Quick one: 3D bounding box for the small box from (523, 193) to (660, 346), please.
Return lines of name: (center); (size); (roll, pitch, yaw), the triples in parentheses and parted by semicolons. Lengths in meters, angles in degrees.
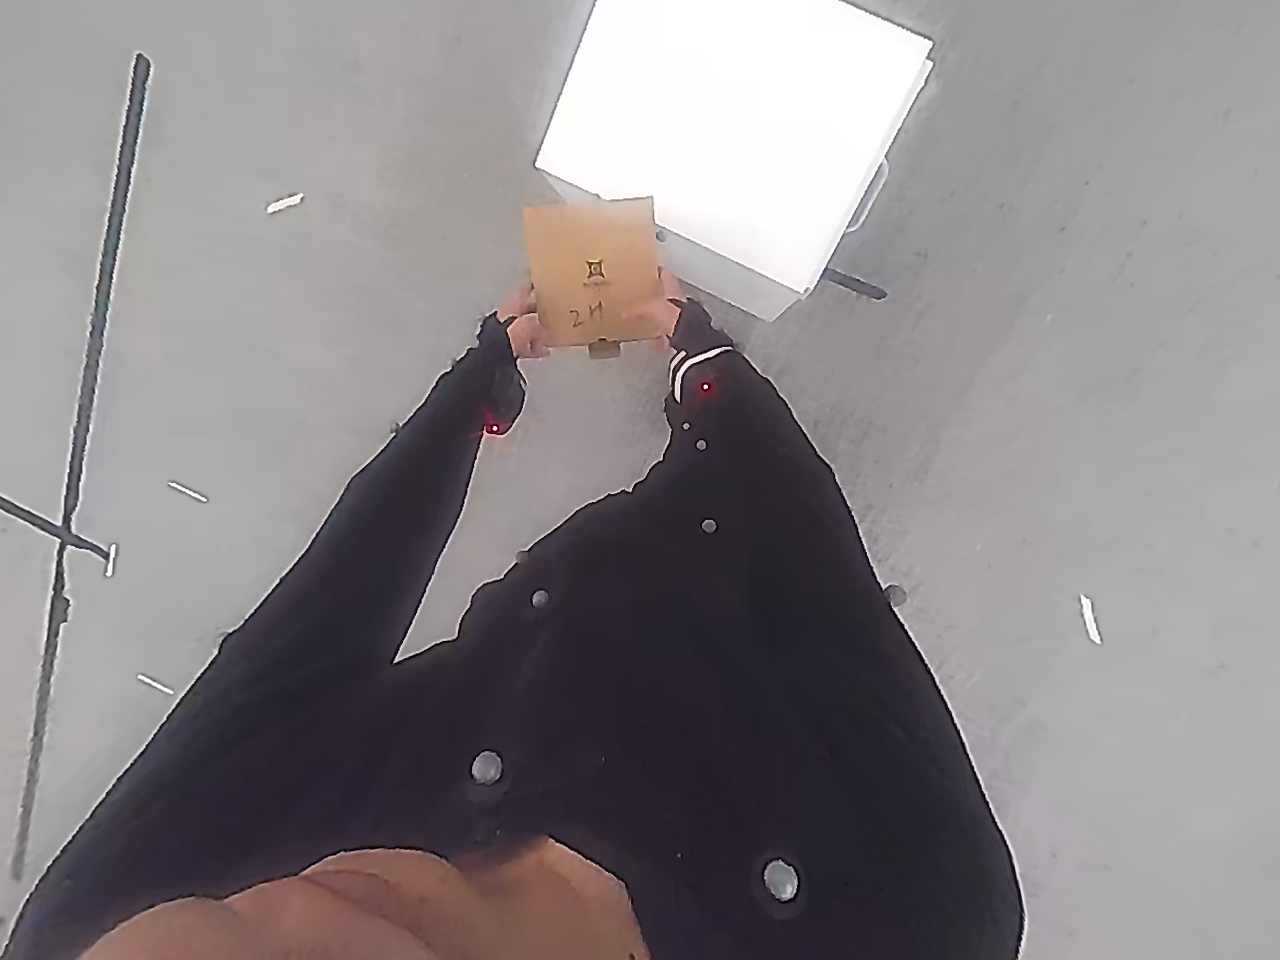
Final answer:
small box: (-0.060, -0.297, 0.769); (0.168, 0.176, 0.179); (-4, 114, 2)
